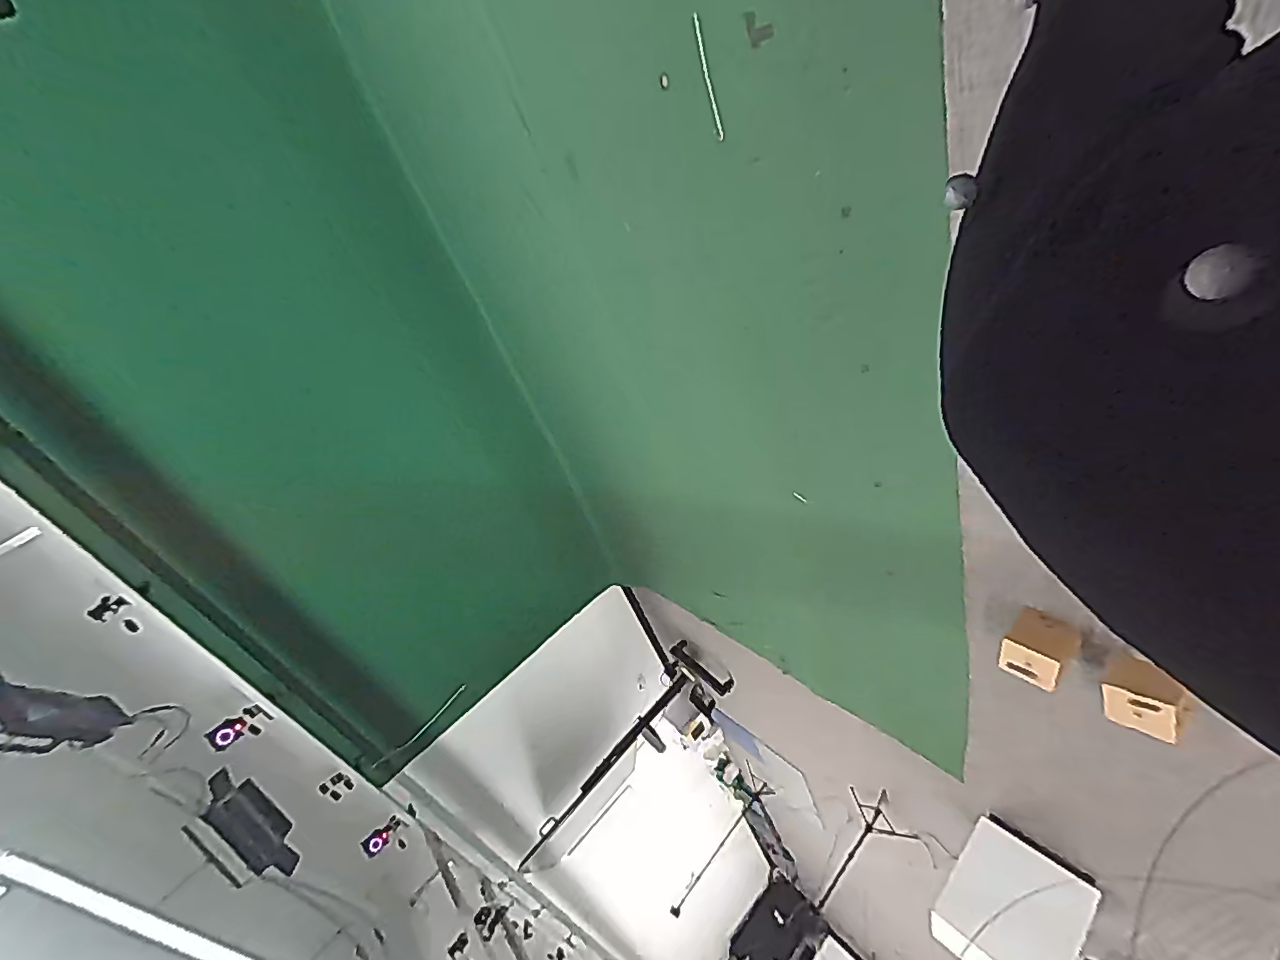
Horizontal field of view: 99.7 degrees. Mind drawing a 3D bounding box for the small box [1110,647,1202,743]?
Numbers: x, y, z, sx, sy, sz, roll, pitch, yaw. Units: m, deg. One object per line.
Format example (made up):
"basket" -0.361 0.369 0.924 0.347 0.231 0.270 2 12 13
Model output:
"small box" 1.547 0.635 1.623 0.168 0.176 0.179 13 136 56
